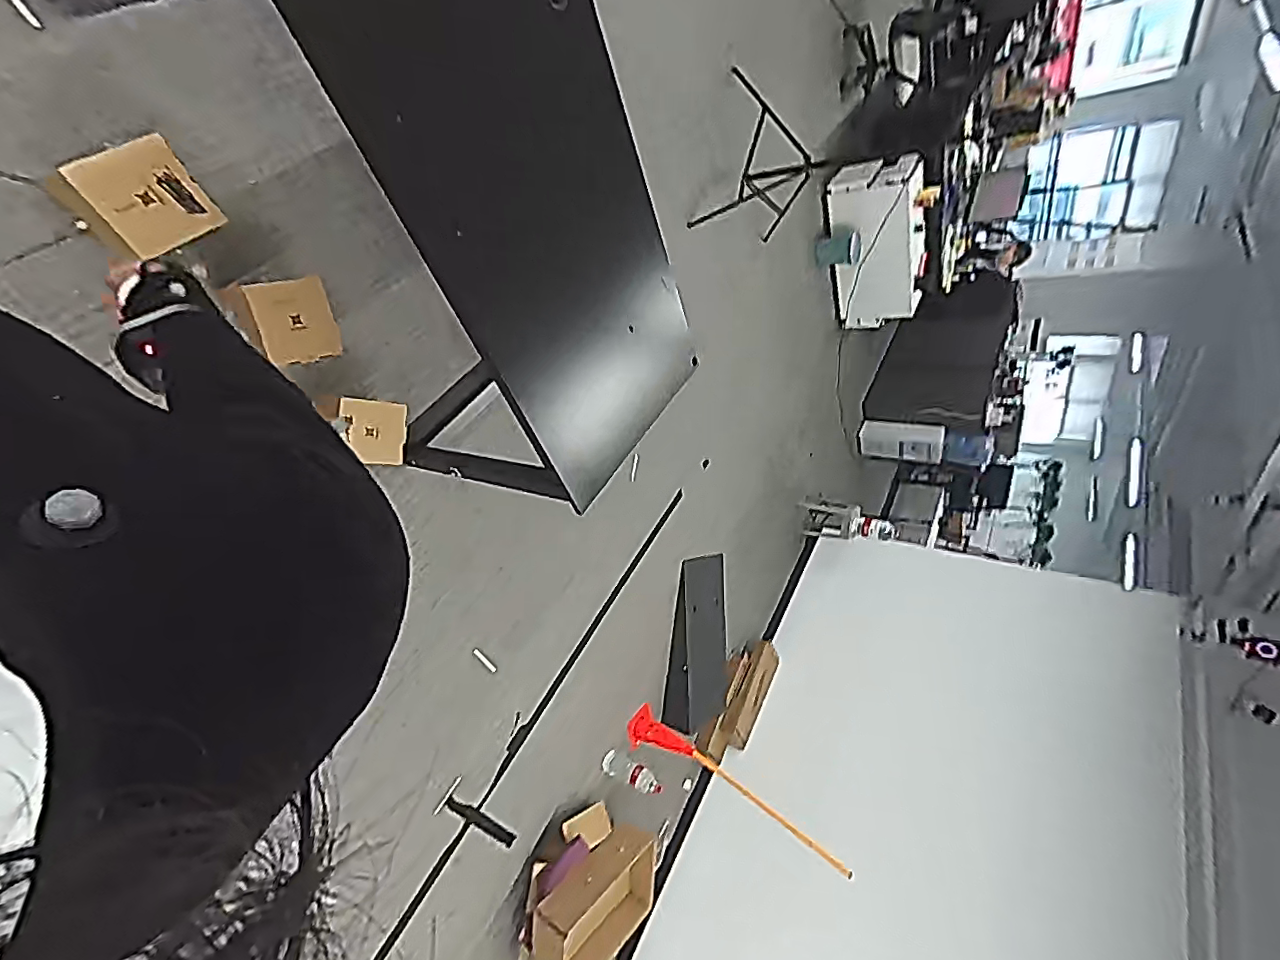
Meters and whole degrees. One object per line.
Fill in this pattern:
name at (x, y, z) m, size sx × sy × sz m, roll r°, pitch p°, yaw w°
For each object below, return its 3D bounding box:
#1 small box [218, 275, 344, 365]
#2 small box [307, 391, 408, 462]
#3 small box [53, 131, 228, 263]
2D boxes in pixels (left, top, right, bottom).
small box at (-0.835, -0.374, 1.261) m, size 0.168 × 0.176 × 0.179 m, roll -34°, pitch 123°, yaw -46°
small box at (-0.748, -0.142, 1.435) m, size 0.179 × 0.176 × 0.168 m, roll 0°, pitch 98°, yaw -54°
small box at (-0.961, -0.539, 1.042) m, size 0.179 × 0.176 × 0.168 m, roll -53°, pitch 136°, yaw -30°
